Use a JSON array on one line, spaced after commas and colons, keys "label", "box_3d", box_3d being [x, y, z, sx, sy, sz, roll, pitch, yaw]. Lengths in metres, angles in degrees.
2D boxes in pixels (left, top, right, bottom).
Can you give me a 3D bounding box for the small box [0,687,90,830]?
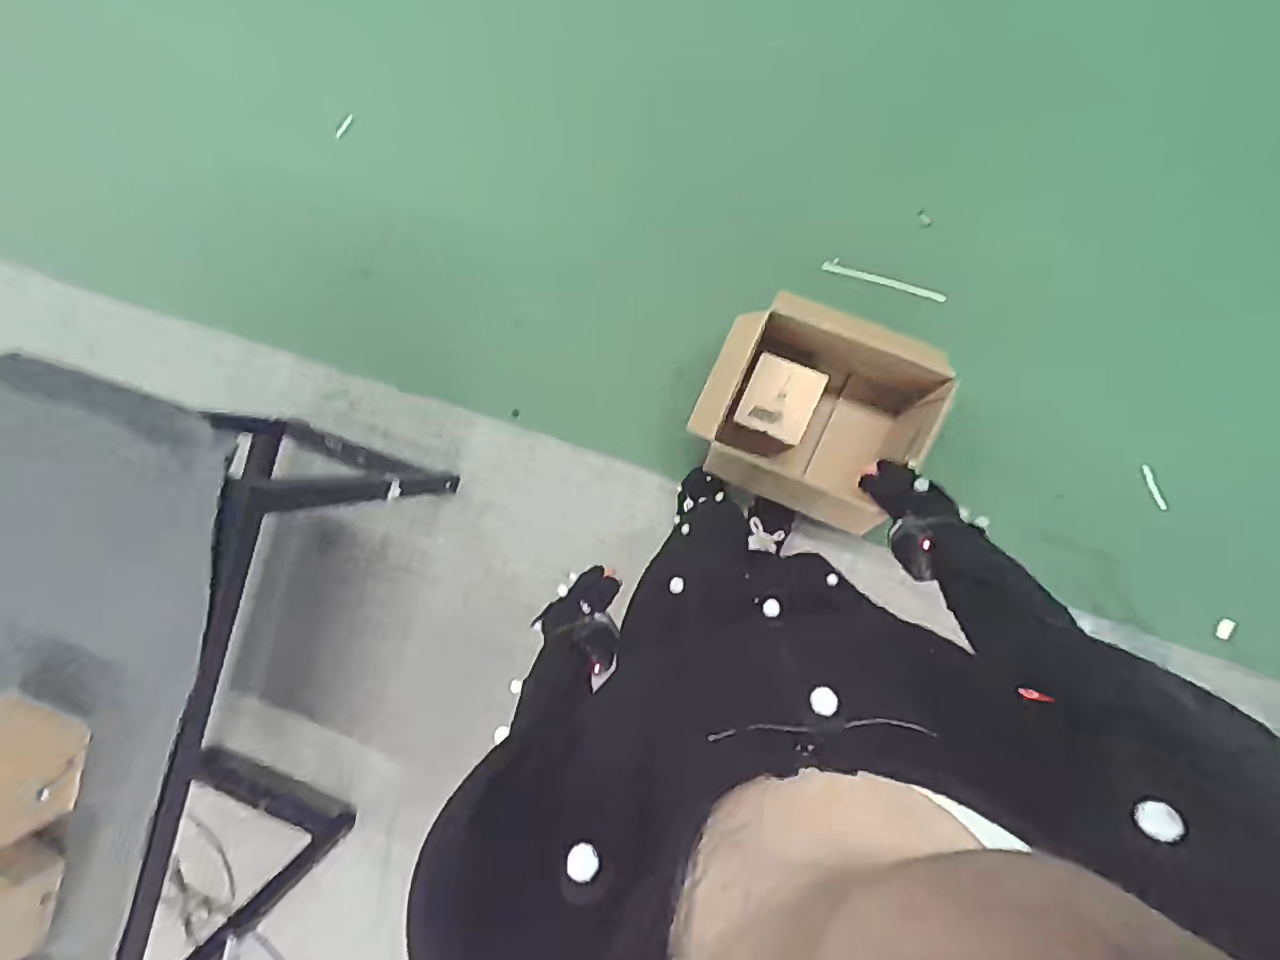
[{"label": "small box", "box_3d": [-1.058, 0.457, 0.864, 0.179, 0.176, 0.168, 18, 94, 8]}]
